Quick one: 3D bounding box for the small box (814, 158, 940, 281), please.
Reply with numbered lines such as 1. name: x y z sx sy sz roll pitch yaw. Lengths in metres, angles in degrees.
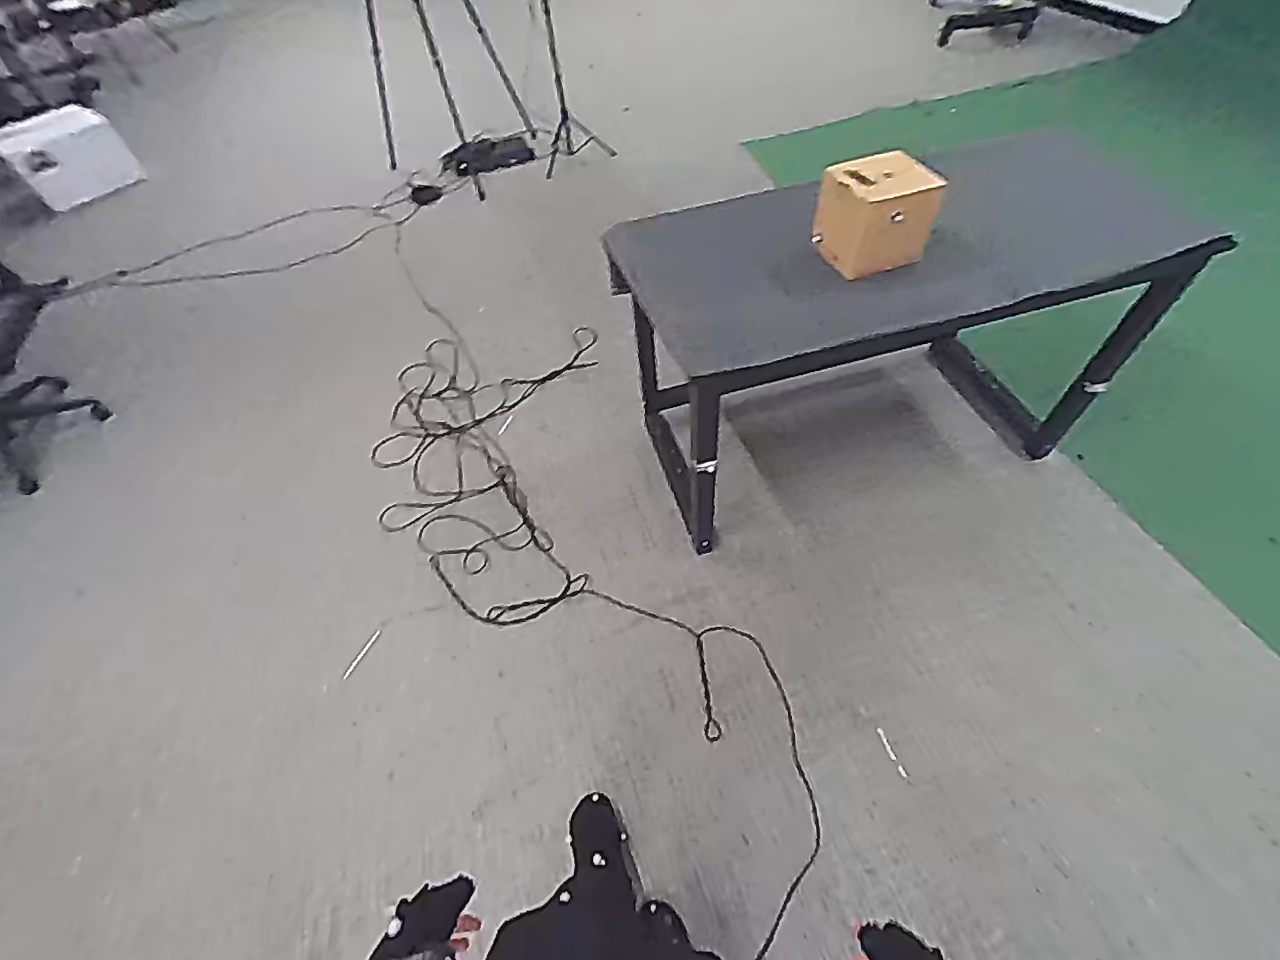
1. small box: 0.490 -0.552 1.156 0.179 0.176 0.168 -17 54 -8
